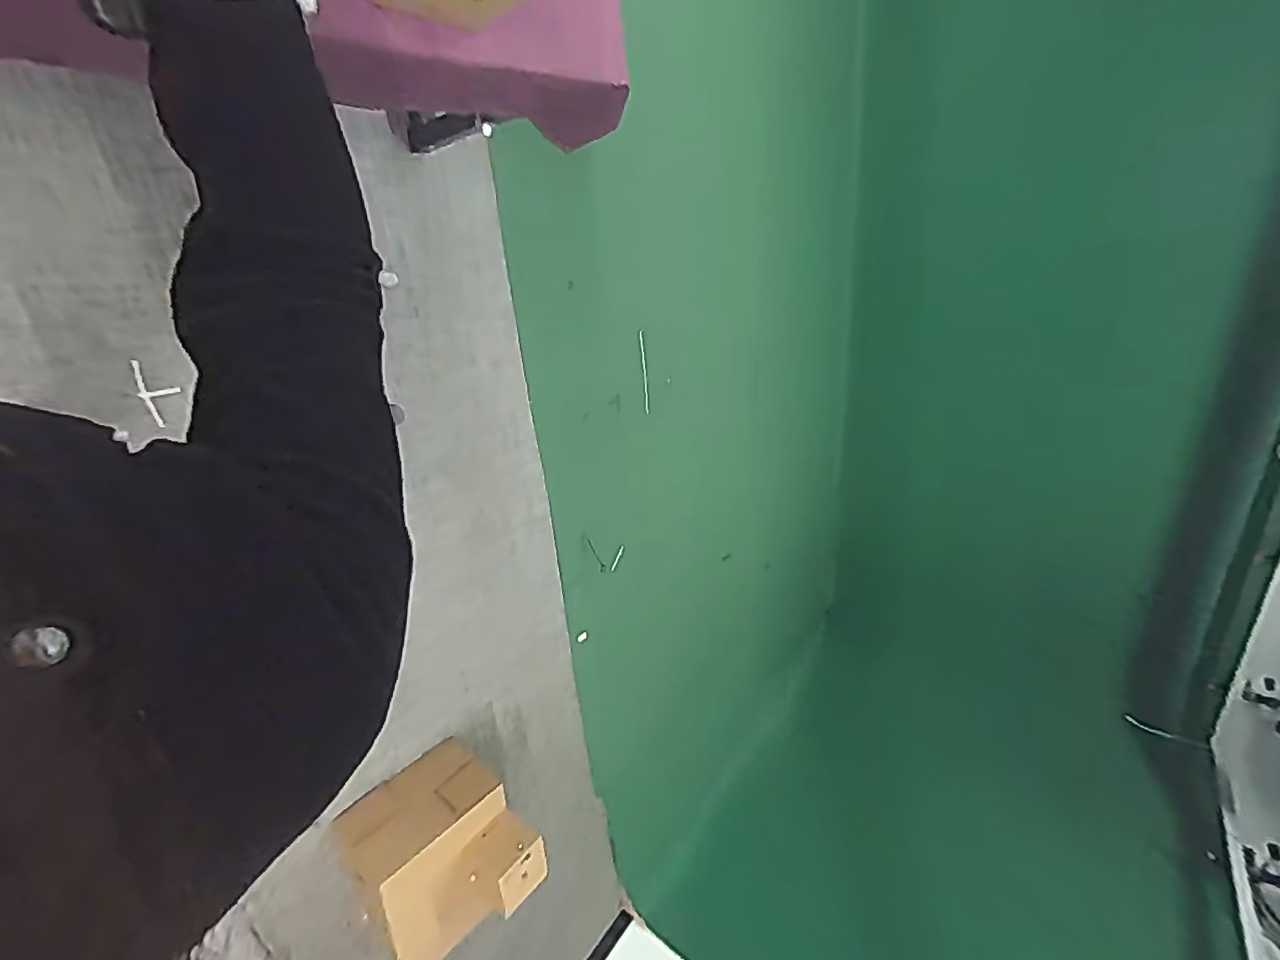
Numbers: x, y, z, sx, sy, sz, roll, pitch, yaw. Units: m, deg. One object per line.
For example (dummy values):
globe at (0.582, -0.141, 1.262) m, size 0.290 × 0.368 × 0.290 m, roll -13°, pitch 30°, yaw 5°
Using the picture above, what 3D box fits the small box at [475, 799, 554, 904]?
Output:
small box at (-0.392, 1.149, 1.688) m, size 0.168 × 0.176 × 0.179 m, roll -28°, pitch 123°, yaw -47°
